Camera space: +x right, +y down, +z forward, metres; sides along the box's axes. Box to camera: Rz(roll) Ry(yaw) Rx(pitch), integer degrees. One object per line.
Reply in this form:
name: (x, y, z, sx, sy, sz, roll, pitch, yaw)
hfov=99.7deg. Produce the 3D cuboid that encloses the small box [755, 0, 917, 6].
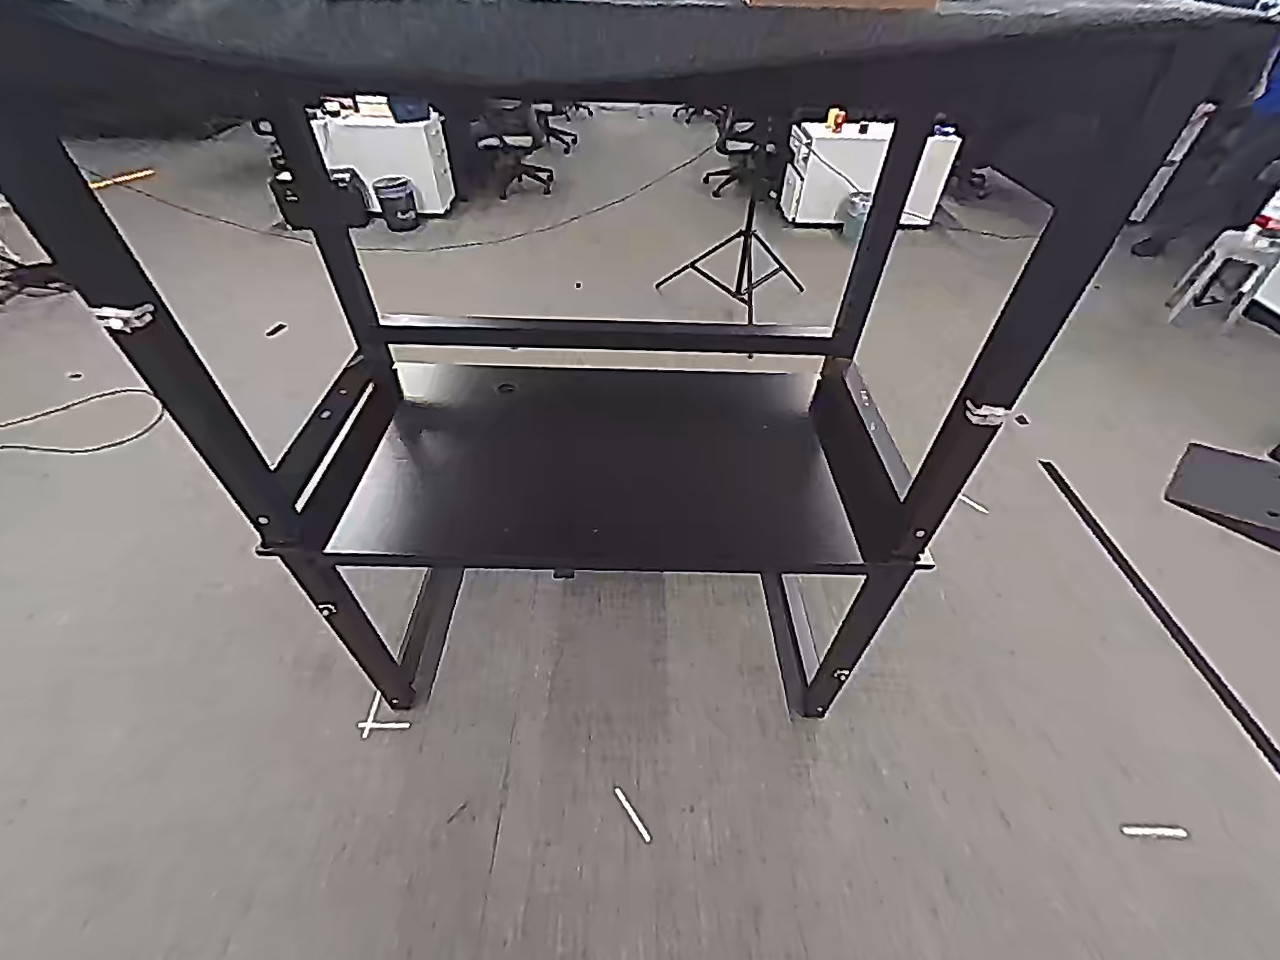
small box: (0.189, -0.542, 0.487, 0.168, 0.176, 0.179, 4, 43, 3)
